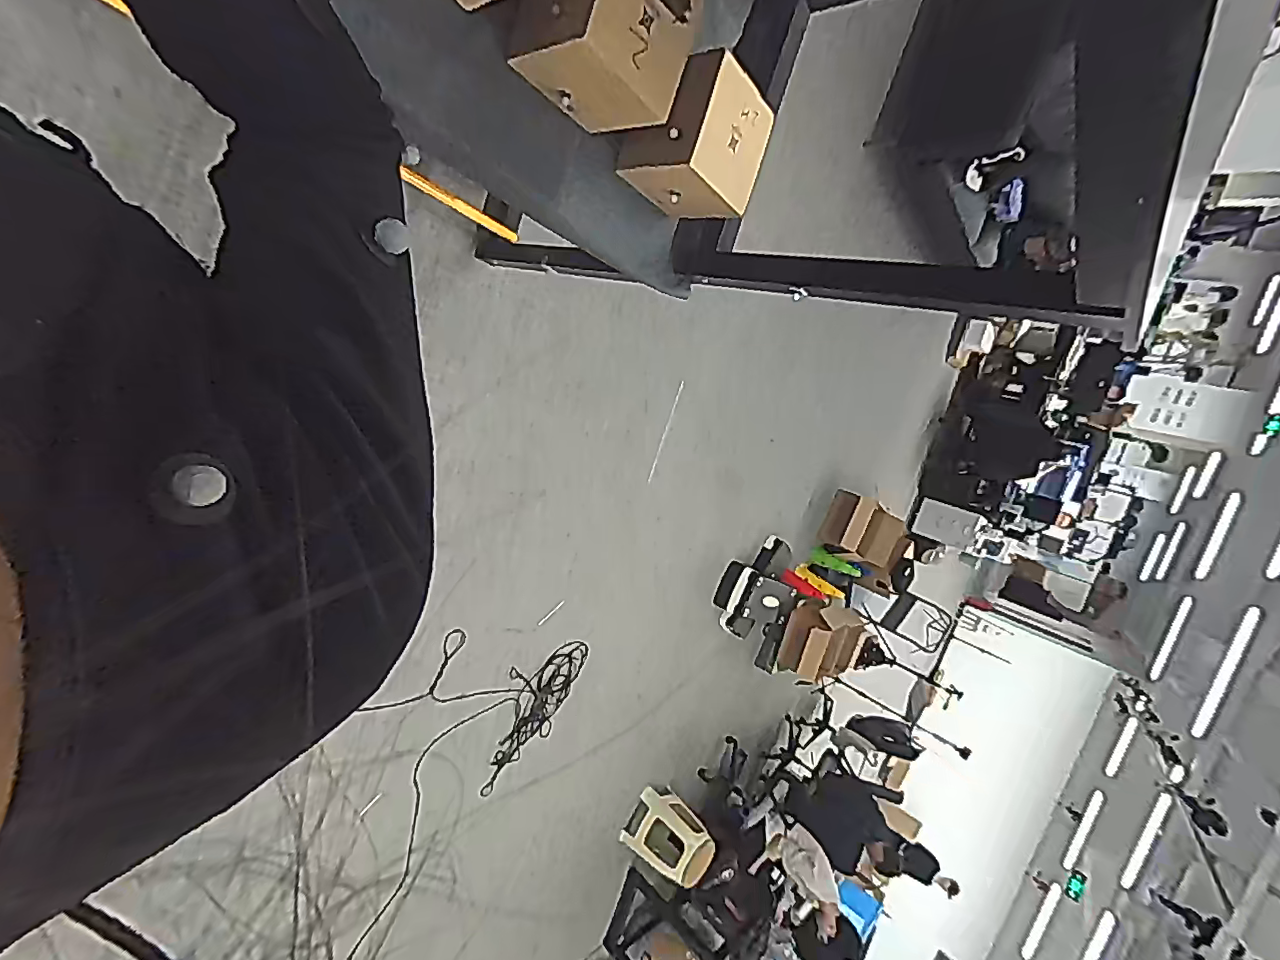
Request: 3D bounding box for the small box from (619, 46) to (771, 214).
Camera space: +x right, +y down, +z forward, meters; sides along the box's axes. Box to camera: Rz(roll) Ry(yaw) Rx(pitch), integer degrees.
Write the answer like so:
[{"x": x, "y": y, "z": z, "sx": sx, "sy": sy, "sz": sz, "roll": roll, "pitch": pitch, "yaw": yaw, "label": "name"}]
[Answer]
[{"x": 0.088, "y": -0.576, "z": 0.916, "sx": 0.168, "sy": 0.176, "sz": 0.179, "roll": 9, "pitch": 101, "yaw": -51, "label": "small box"}]
